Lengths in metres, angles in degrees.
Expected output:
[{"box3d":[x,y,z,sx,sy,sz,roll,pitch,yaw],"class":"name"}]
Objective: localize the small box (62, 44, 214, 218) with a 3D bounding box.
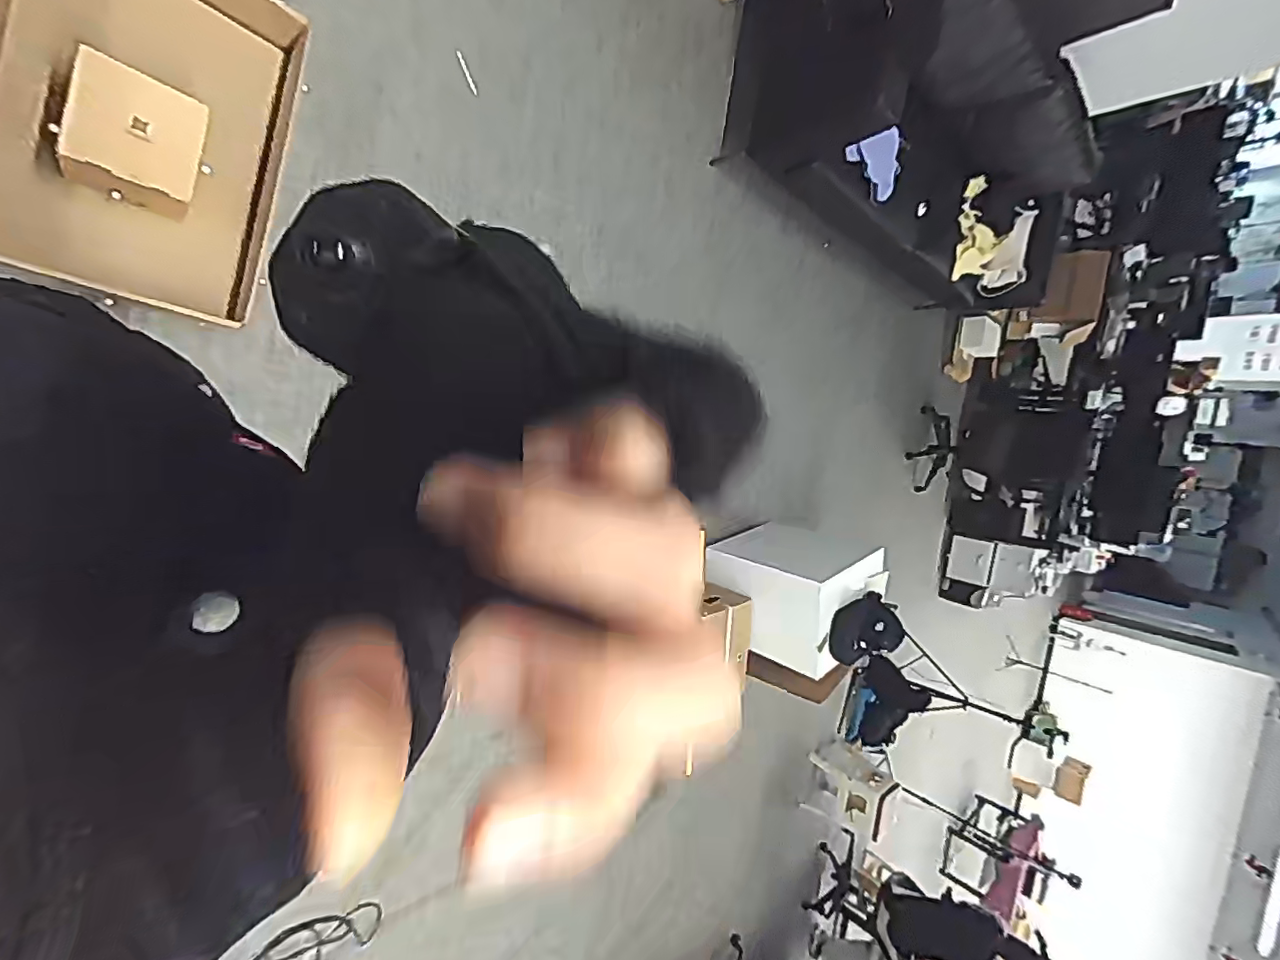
[{"box3d":[-0.882,-0.596,0.952,0.168,0.176,0.179,12,90,-45],"class":"small box"}]
